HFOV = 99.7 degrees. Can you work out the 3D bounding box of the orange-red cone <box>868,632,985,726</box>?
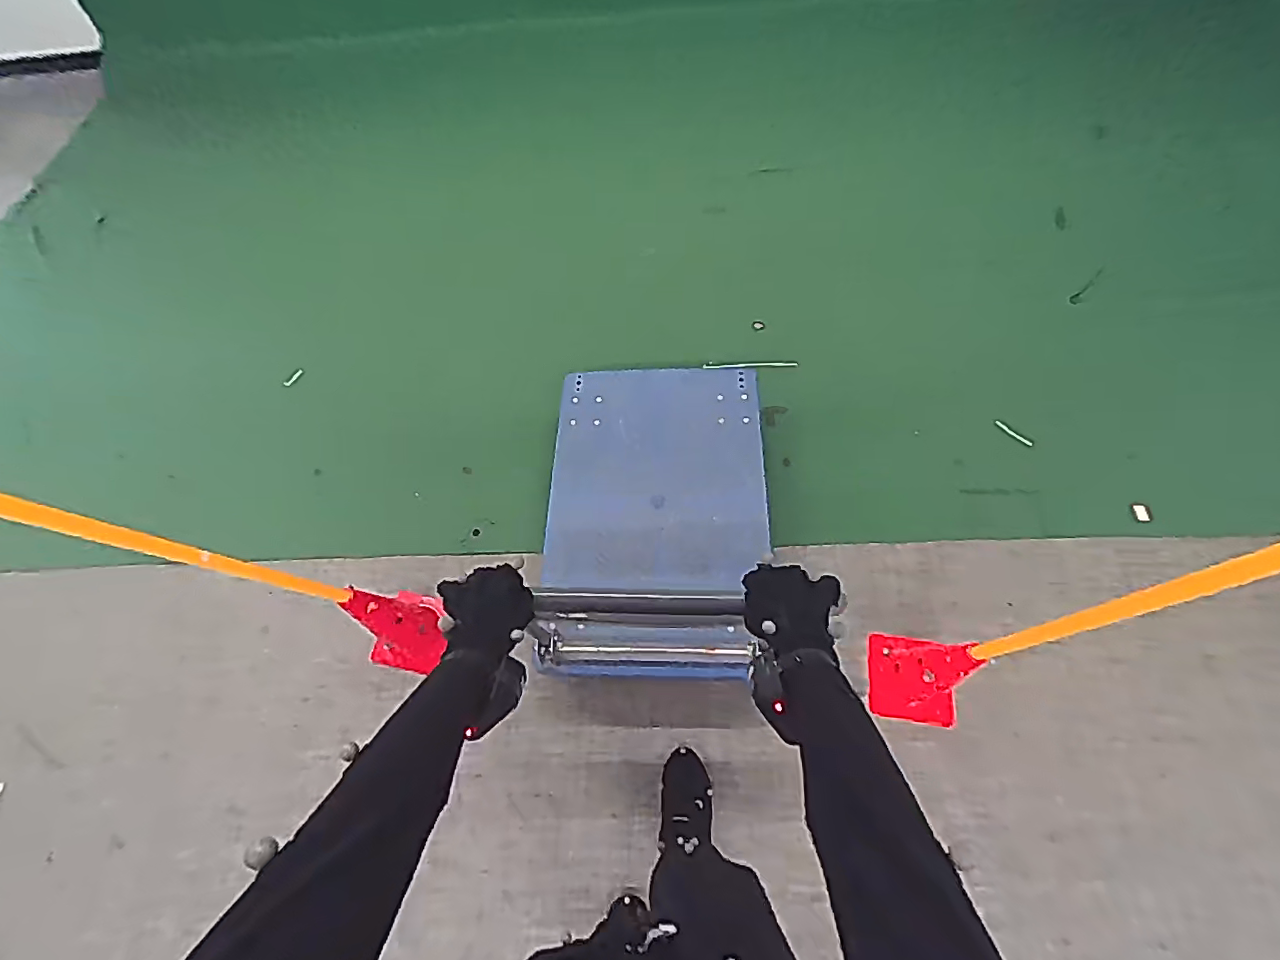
[{"bbox_3d":[0.655,0.410,1.187,0.198,0.360,0.199,8,64,9],"label":"orange-red cone"}]
